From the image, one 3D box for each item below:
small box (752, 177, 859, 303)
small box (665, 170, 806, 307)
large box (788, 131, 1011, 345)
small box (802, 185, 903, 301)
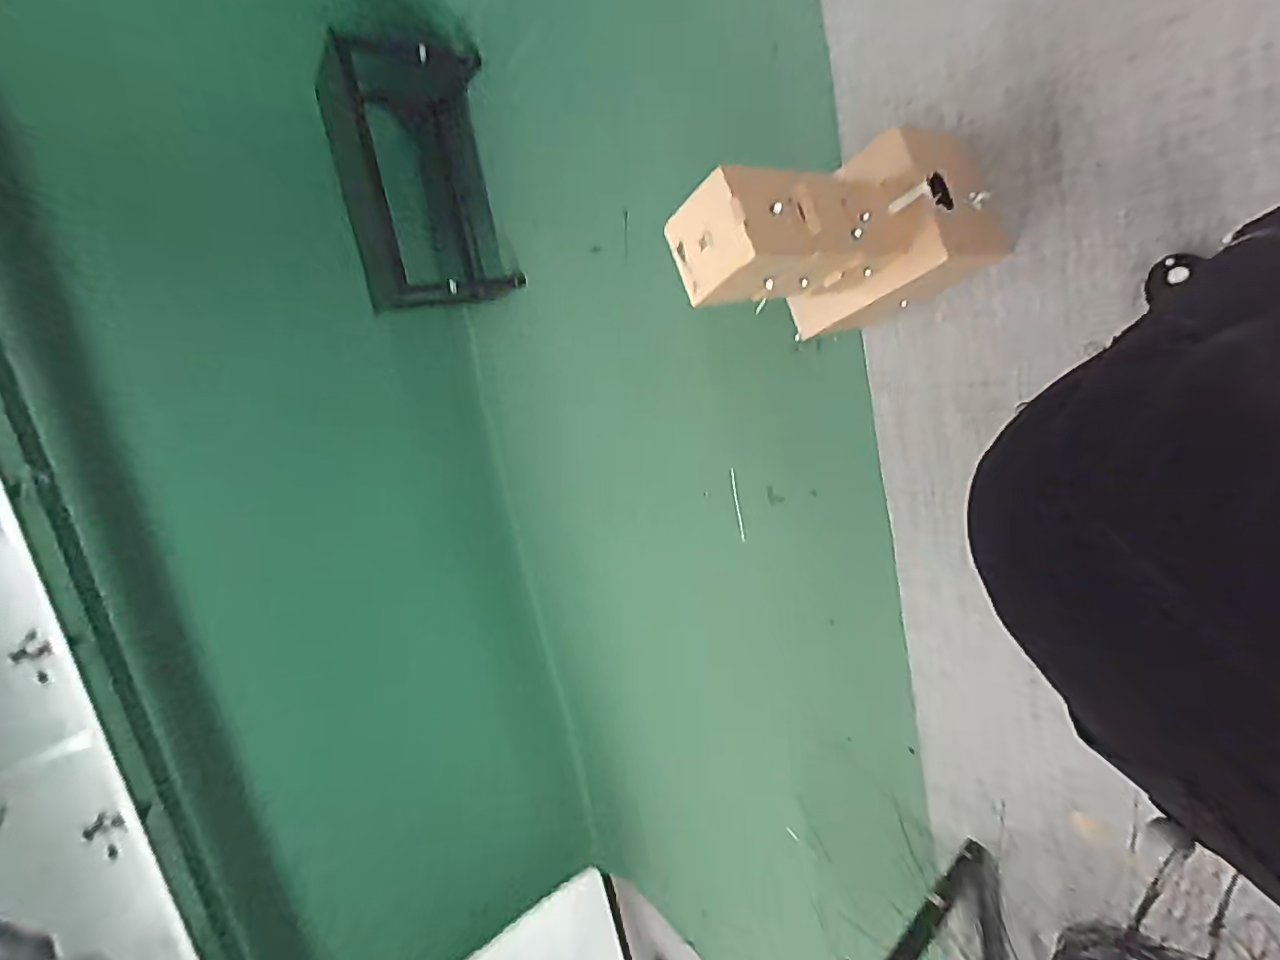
[{"bbox_3d":[0.315,-0.481,1.094,0.179,0.176,0.168,-24,85,56],"label":"small box"},{"bbox_3d":[0.183,-0.441,1.004,0.179,0.176,0.168,-22,86,55],"label":"small box"},{"bbox_3d":[0.610,-0.583,1.360,0.408,0.320,0.320,-23,84,57],"label":"large box"},{"bbox_3d":[0.443,-0.518,1.188,0.168,0.176,0.179,-22,87,56],"label":"small box"}]
